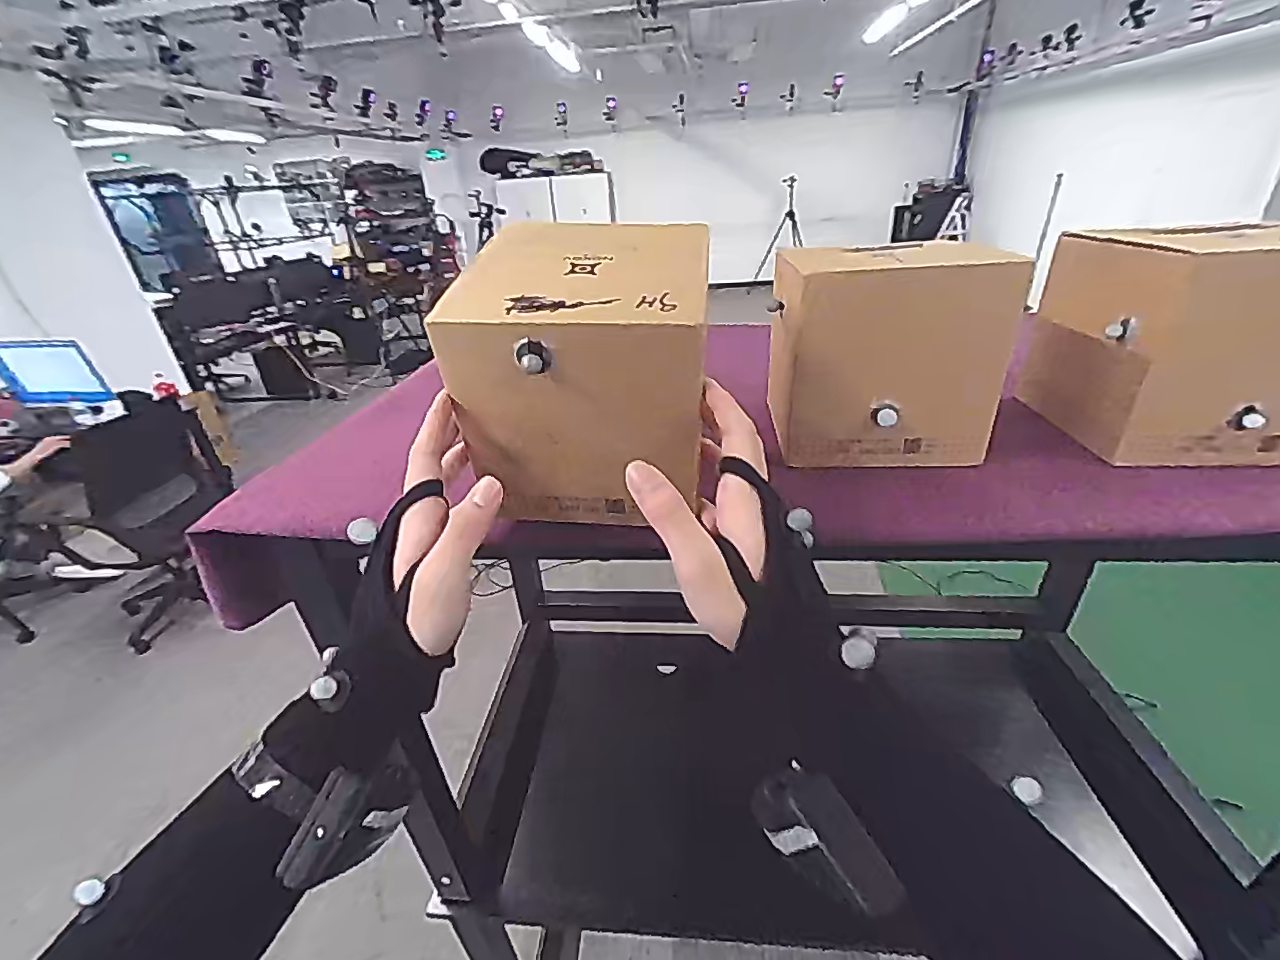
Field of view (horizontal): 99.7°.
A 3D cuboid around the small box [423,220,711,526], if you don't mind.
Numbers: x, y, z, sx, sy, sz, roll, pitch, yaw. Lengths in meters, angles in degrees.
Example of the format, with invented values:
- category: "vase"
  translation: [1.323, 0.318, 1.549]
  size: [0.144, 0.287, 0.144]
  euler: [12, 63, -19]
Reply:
- category: "small box"
  translation: [-0.034, -0.088, 0.418]
  size: [0.168, 0.176, 0.179]
  euler: [2, 42, 7]

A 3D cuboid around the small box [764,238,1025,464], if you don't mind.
- category: "small box"
  translation: [0.210, -0.127, 0.508]
  size: [0.168, 0.176, 0.179]
  euler: [0, 28, 7]
